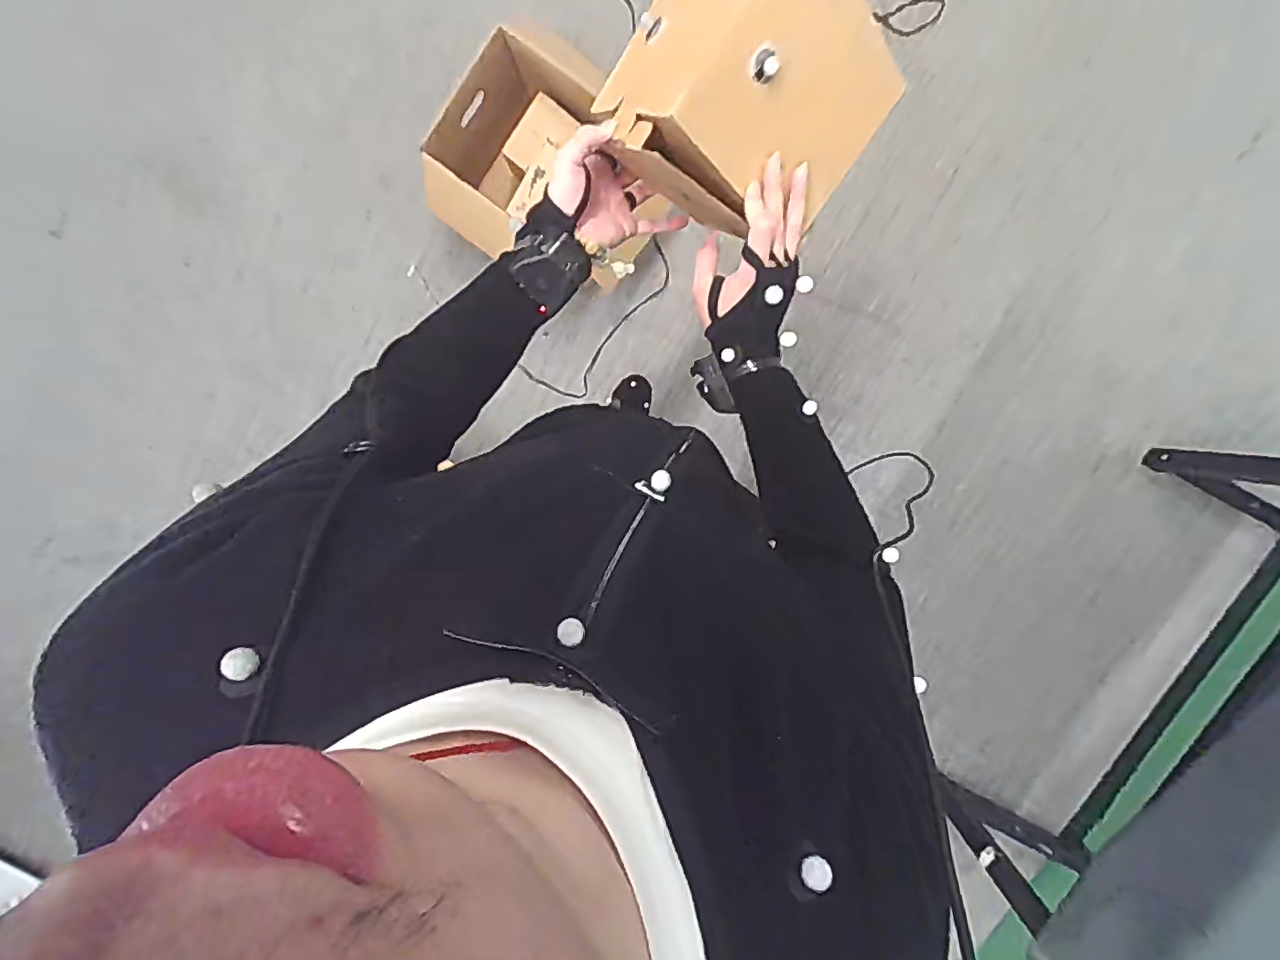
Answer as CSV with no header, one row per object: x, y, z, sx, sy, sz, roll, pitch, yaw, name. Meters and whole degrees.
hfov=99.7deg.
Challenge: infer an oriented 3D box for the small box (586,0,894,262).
0.087,-0.338,0.494,0.179,0.168,0.176,24,108,-39,small box
